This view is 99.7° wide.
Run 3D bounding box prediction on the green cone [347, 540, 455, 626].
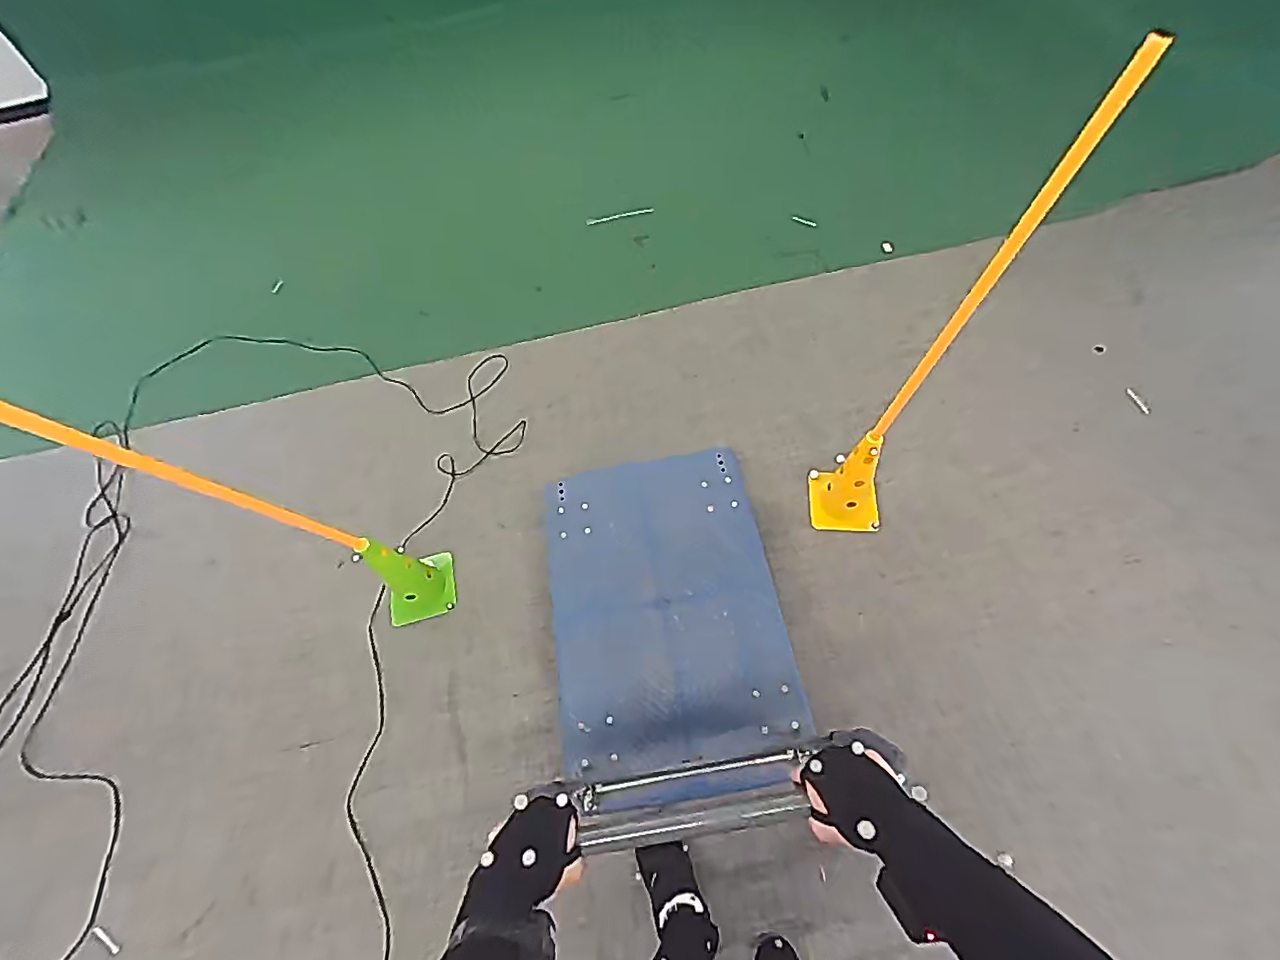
[{"bbox_3d":[-0.698,0.252,1.526,0.202,0.368,0.200,-17,60,-1],"label":"green cone"}]
